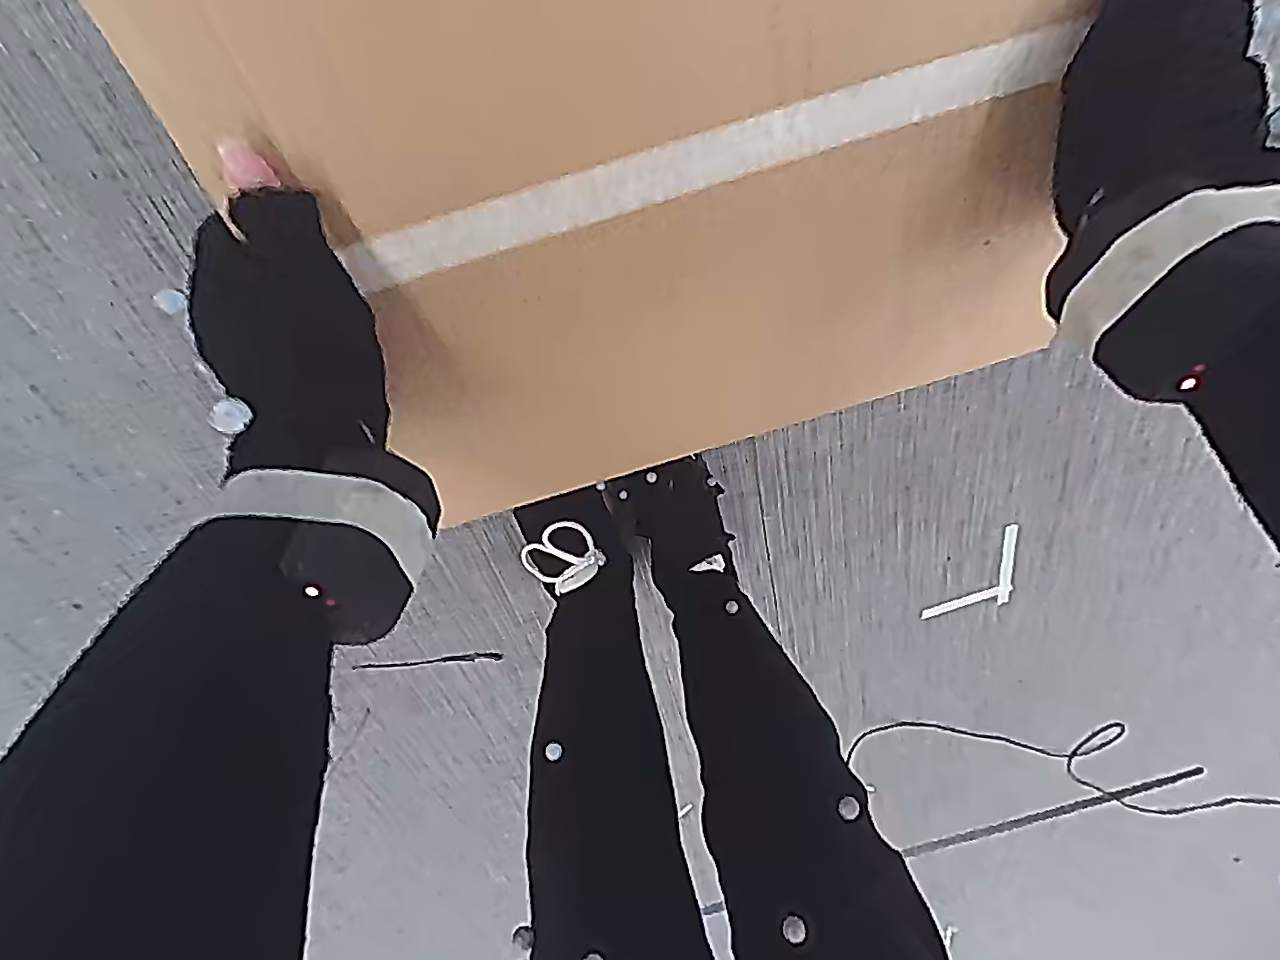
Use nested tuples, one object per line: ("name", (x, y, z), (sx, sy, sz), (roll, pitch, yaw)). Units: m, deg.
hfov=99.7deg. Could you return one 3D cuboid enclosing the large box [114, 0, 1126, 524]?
("large box", (0.003, -0.230, 0.373), (0.408, 0.320, 0.320), (-17, 128, 0))
